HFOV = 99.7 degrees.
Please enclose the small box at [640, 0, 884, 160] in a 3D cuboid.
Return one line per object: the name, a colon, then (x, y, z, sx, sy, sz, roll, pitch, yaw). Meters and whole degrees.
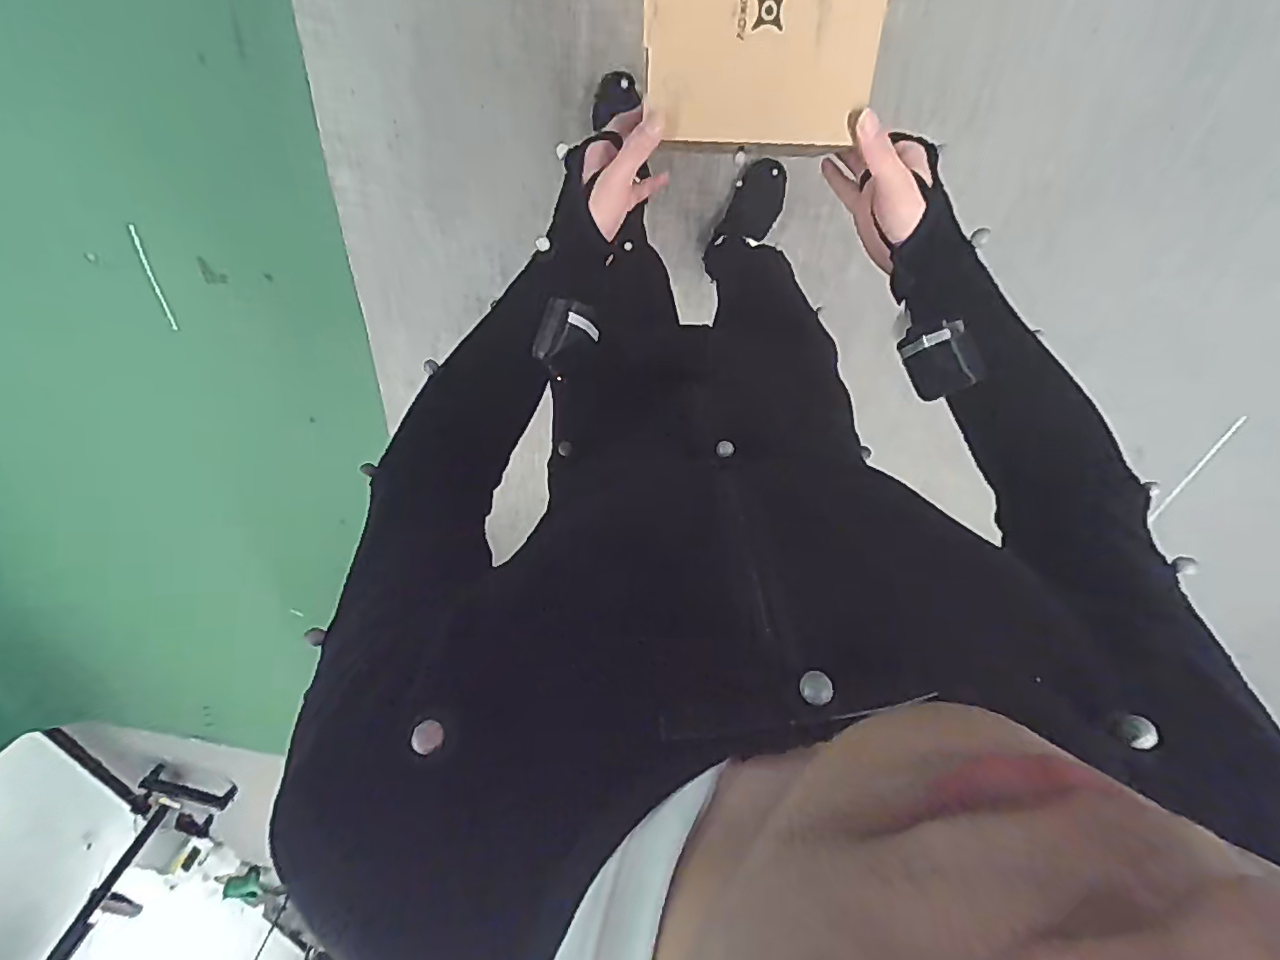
small box: (0.098, -0.381, 0.472, 0.179, 0.176, 0.168, 4, 119, 3)
